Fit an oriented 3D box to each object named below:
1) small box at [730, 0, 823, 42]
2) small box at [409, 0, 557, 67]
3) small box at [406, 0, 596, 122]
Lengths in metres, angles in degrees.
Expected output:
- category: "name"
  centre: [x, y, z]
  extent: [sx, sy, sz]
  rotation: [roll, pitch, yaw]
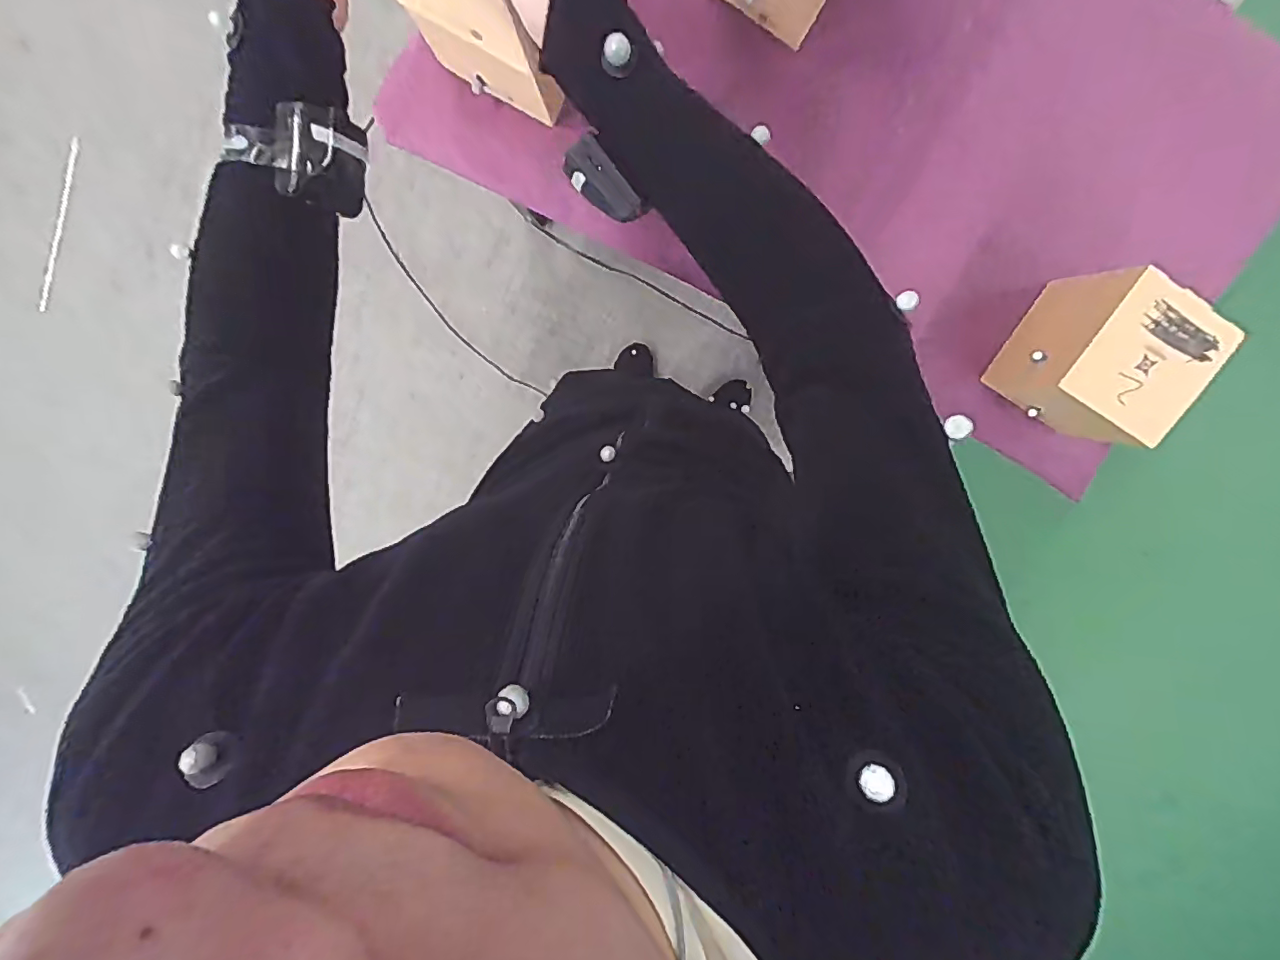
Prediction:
- category: "small box"
  centre: [0.187, -0.684, 0.634]
  extent: [0.168, 0.176, 0.179]
  rotation: [30, 103, -7]
- category: "small box"
  centre: [-0.157, -0.543, 0.502]
  extent: [0.168, 0.176, 0.179]
  rotation: [26, 101, -6]
- category: "small box"
  centre: [-0.159, -0.590, 0.657]
  extent: [0.168, 0.176, 0.179]
  rotation: [26, 102, -6]
